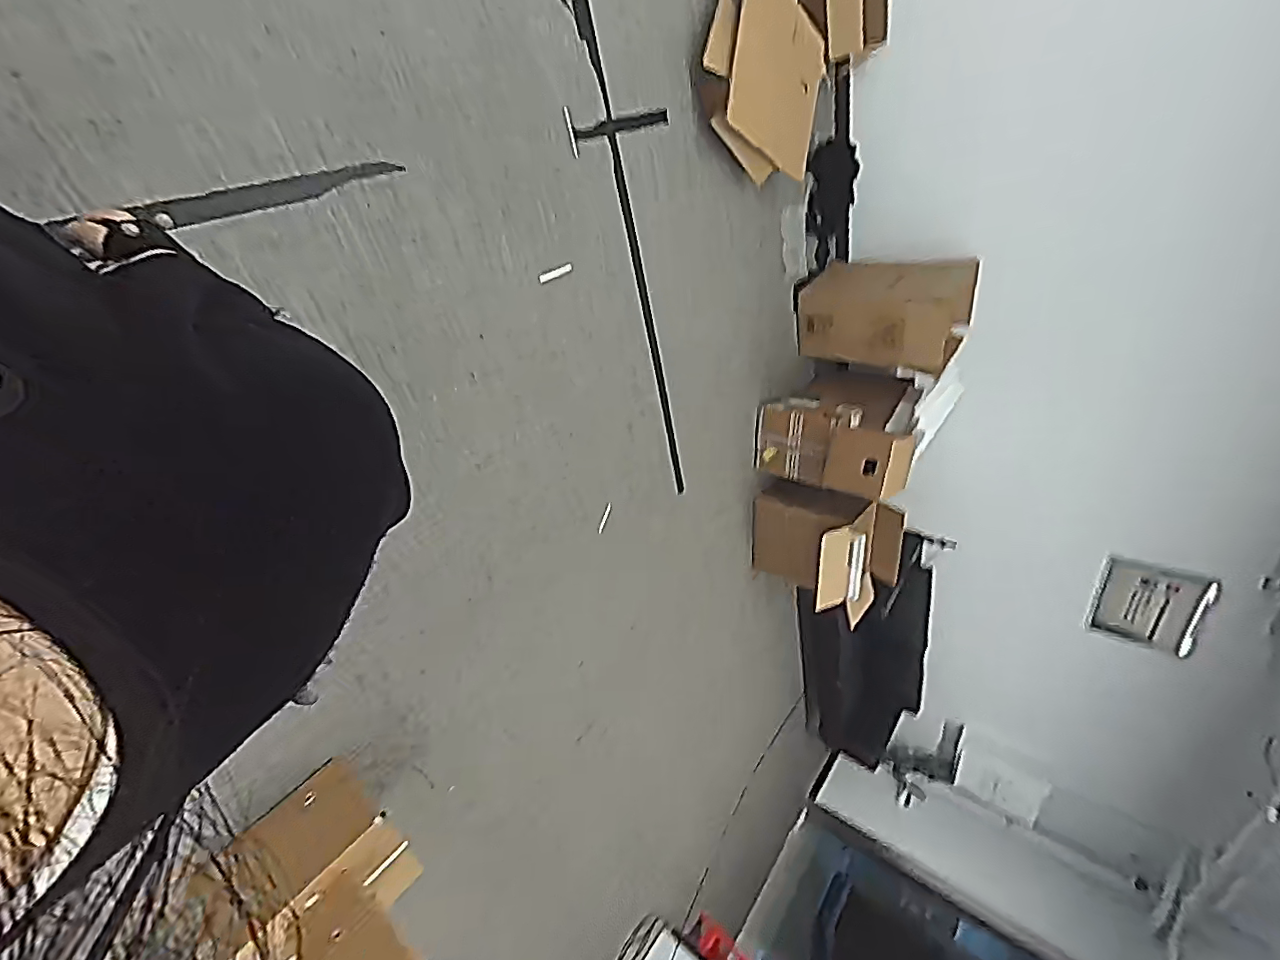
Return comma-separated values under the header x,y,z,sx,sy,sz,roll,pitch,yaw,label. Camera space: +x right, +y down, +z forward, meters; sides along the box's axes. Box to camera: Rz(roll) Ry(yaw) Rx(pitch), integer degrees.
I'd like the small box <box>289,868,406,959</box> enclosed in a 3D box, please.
x,y,z,sx,sy,sz,roll,pitch,yaw,label
-0.733,1.131,1.355,0.179,0.176,0.168,-40,130,-34,small box
